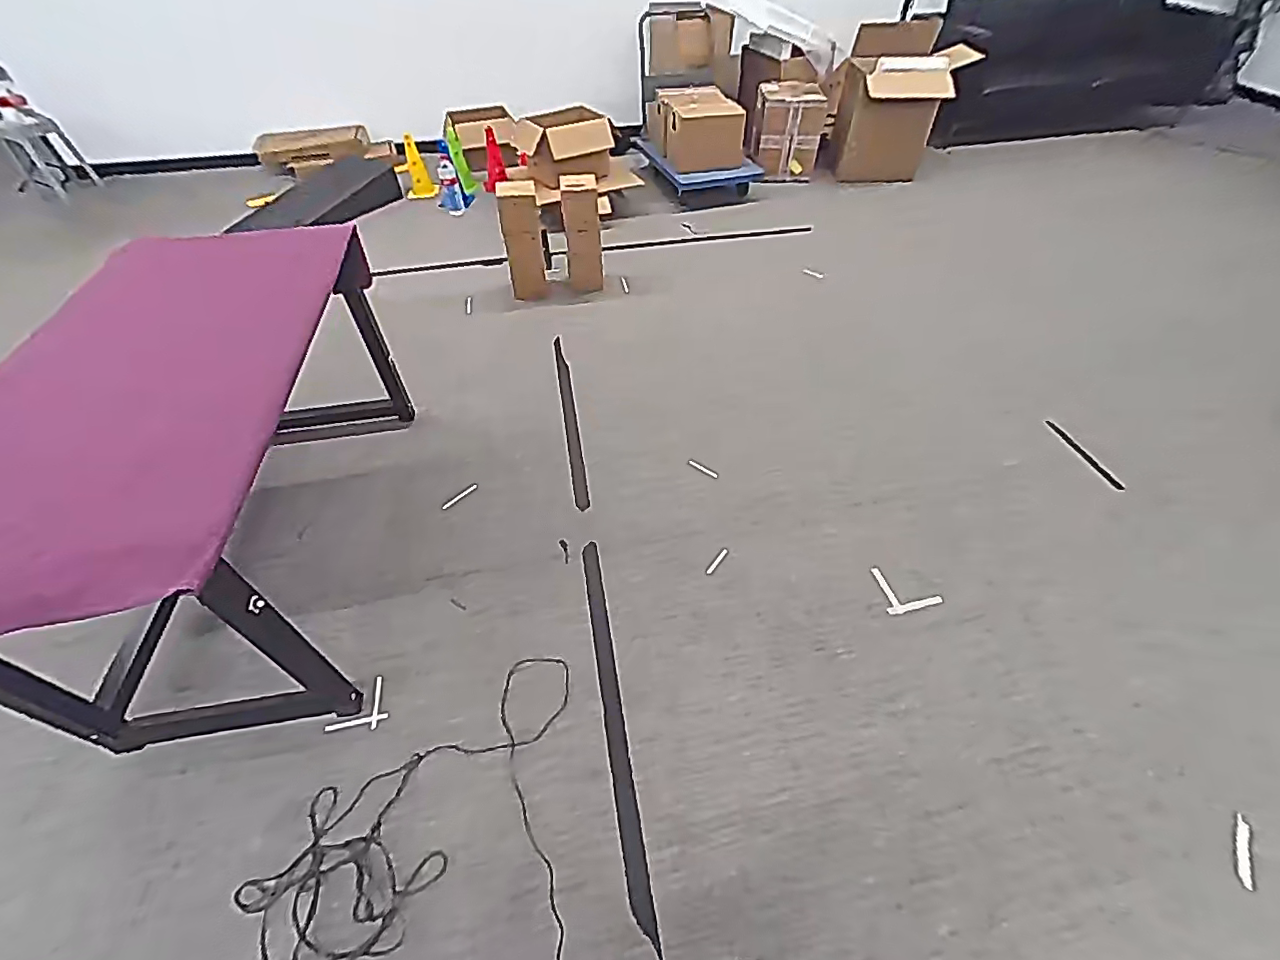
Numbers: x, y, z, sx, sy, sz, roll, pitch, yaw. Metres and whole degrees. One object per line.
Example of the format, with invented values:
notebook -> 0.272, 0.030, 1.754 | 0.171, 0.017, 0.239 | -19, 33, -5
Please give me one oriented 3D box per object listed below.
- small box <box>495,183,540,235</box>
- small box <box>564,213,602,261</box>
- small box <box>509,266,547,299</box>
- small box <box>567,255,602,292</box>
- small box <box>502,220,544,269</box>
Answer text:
small box -> -0.562, -1.244, 2.483 | 0.179, 0.176, 0.168 | -7, 49, -9
small box -> -0.279, -1.187, 2.649 | 0.168, 0.176, 0.179 | -6, 48, -5
small box -> -0.567, -1.031, 2.731 | 0.168, 0.176, 0.179 | -8, 48, -9
small box -> -0.284, -1.081, 2.776 | 0.179, 0.176, 0.168 | -4, 49, -5
small box -> -0.562, -1.133, 2.605 | 0.179, 0.176, 0.168 | -7, 49, -8
